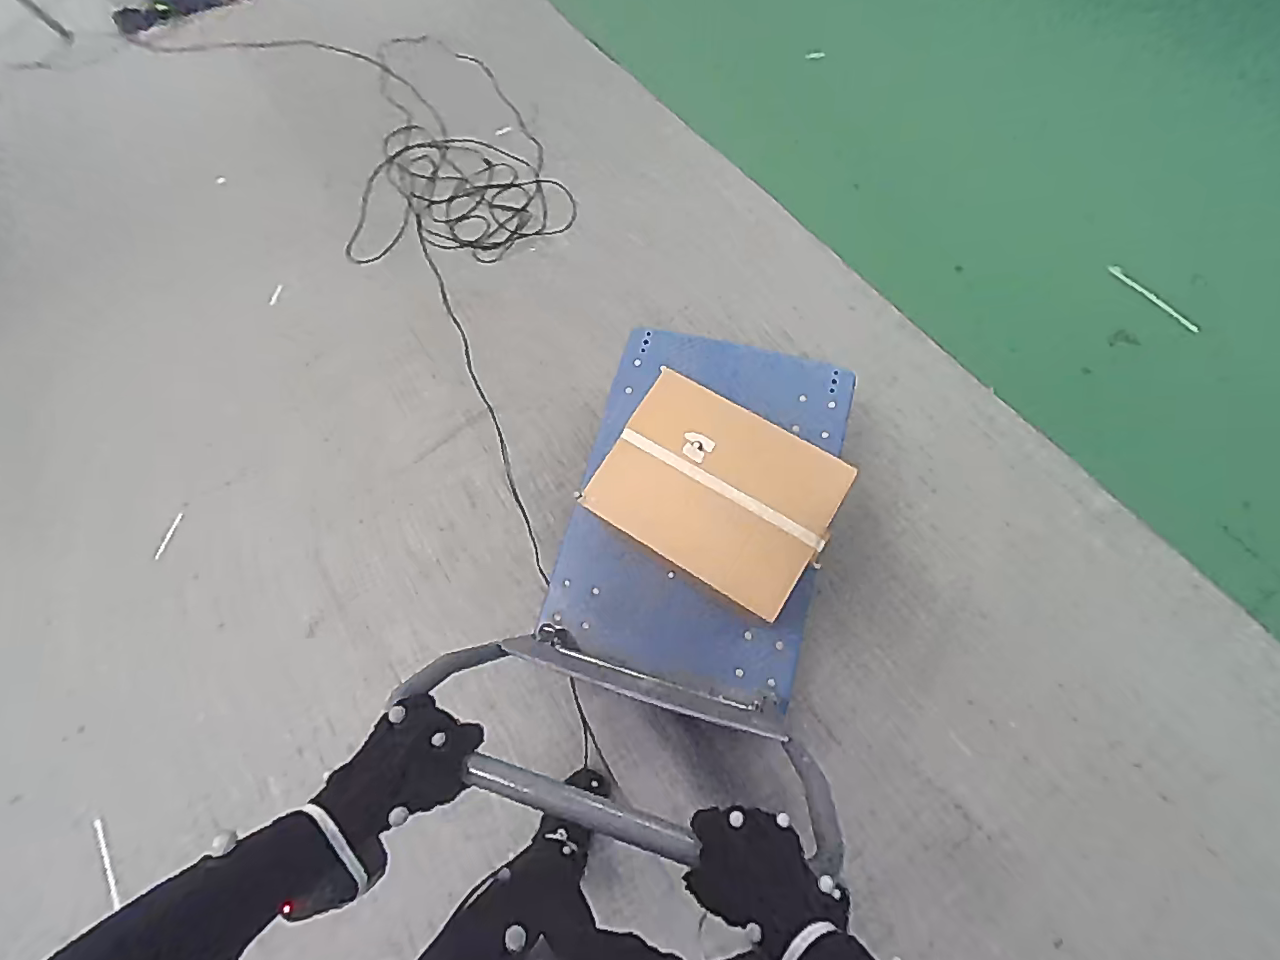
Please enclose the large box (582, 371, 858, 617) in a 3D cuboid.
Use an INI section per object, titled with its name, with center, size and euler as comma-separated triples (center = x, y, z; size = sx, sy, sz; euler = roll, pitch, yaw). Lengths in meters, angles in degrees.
[large box]
center = 0.159, 0.046, 1.108
size = 0.408, 0.320, 0.320
euler = 31, 81, 14
